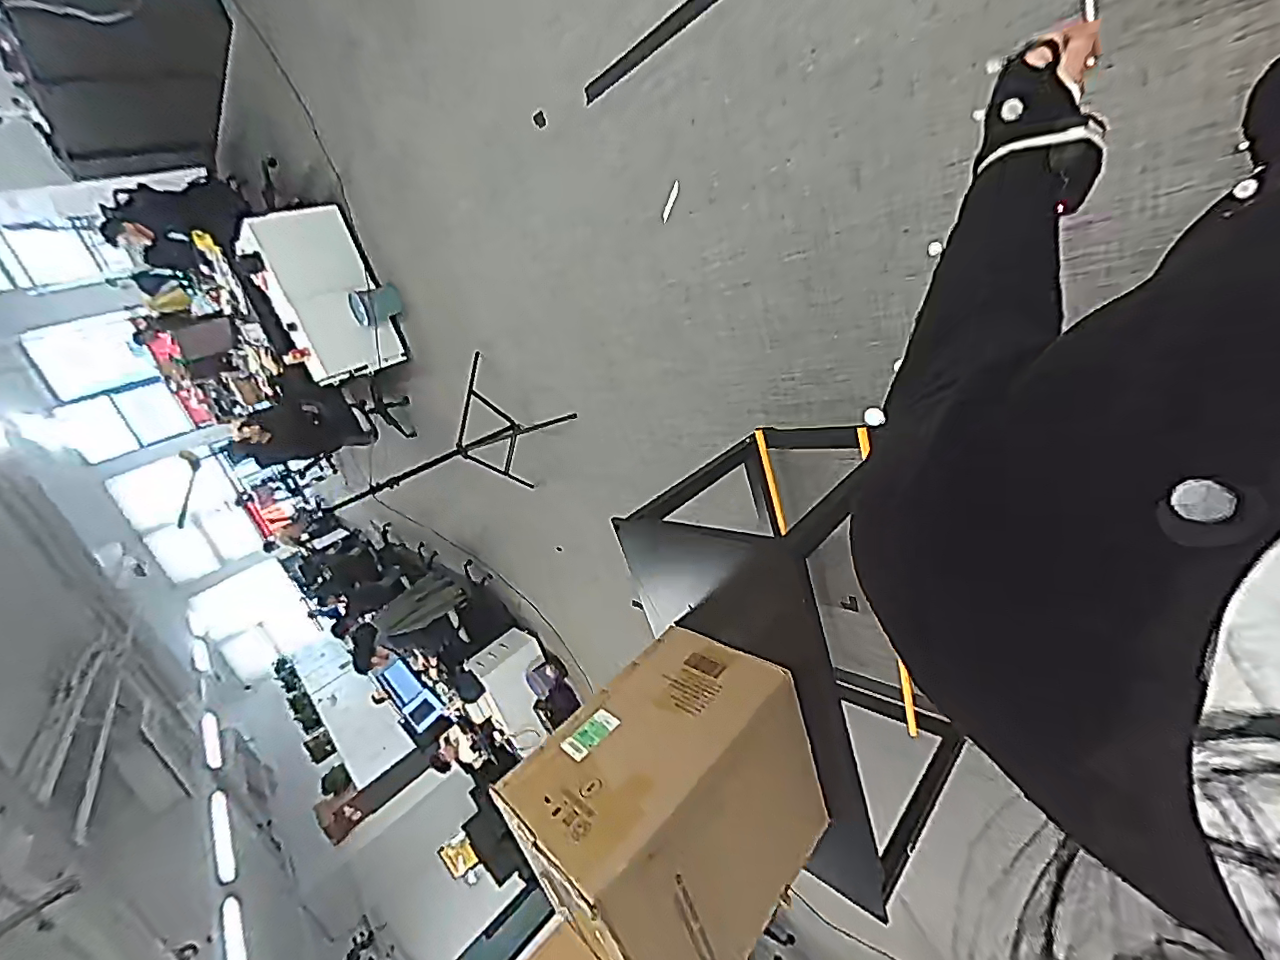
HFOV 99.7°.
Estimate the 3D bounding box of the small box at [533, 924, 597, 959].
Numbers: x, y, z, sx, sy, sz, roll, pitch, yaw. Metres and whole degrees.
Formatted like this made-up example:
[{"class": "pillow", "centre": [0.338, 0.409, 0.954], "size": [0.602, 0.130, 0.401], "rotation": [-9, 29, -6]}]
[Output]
[{"class": "small box", "centre": [-0.155, 1.123, 1.162], "size": [0.179, 0.176, 0.168], "rotation": [4, 118, 50]}]
